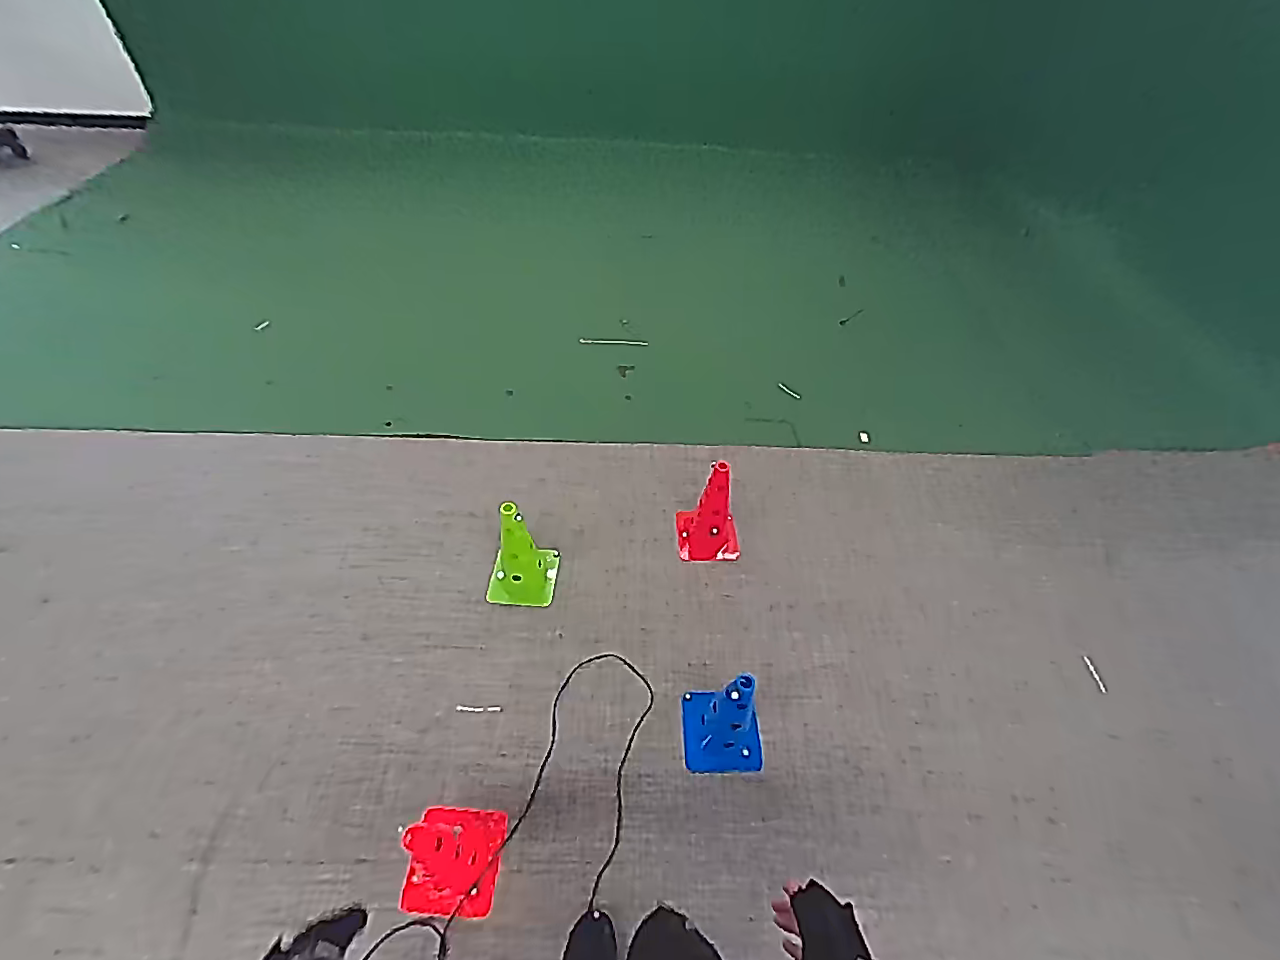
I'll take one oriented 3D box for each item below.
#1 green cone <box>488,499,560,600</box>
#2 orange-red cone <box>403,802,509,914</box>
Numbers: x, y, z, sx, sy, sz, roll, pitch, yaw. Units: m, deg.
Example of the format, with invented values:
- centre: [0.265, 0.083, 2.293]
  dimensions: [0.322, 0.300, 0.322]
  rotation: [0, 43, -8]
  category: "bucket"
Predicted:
- centre: [-0.356, 0.173, 1.560]
  dimensions: [0.200, 0.368, 0.202]
  rotation: [3, 51, 0]
  category: "green cone"
- centre: [-0.400, 0.733, 1.091]
  dimensions: [0.198, 0.360, 0.199]
  rotation: [6, 48, 1]
  category: "orange-red cone"
